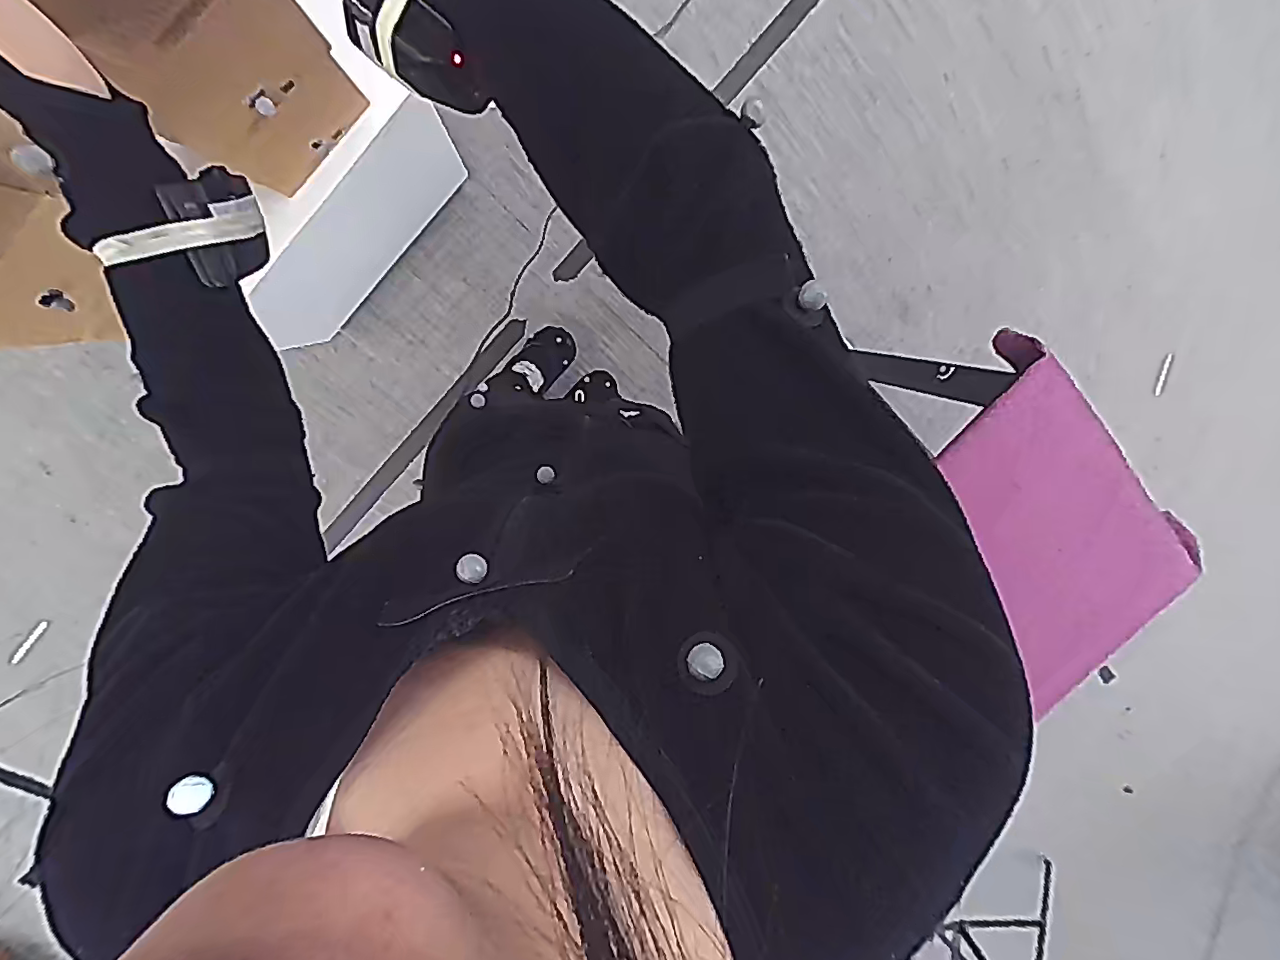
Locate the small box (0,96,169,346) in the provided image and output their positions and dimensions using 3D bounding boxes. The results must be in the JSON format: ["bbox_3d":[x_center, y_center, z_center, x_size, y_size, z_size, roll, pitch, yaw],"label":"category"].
[{"bbox_3d":[-0.583,-0.236,0.472,0.179,0.176,0.168,40,96,-19],"label":"small box"}]

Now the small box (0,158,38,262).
[{"bbox_3d":[-0.554,-0.190,0.319,0.179,0.176,0.168,40,98,-20],"label":"small box"}]

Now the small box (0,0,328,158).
[{"bbox_3d":[-0.409,-0.410,0.448,0.168,0.176,0.179,-45,111,6],"label":"small box"}]

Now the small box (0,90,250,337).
[{"bbox_3d":[-0.615,-0.285,0.625,0.179,0.176,0.168,42,96,-19],"label":"small box"}]
